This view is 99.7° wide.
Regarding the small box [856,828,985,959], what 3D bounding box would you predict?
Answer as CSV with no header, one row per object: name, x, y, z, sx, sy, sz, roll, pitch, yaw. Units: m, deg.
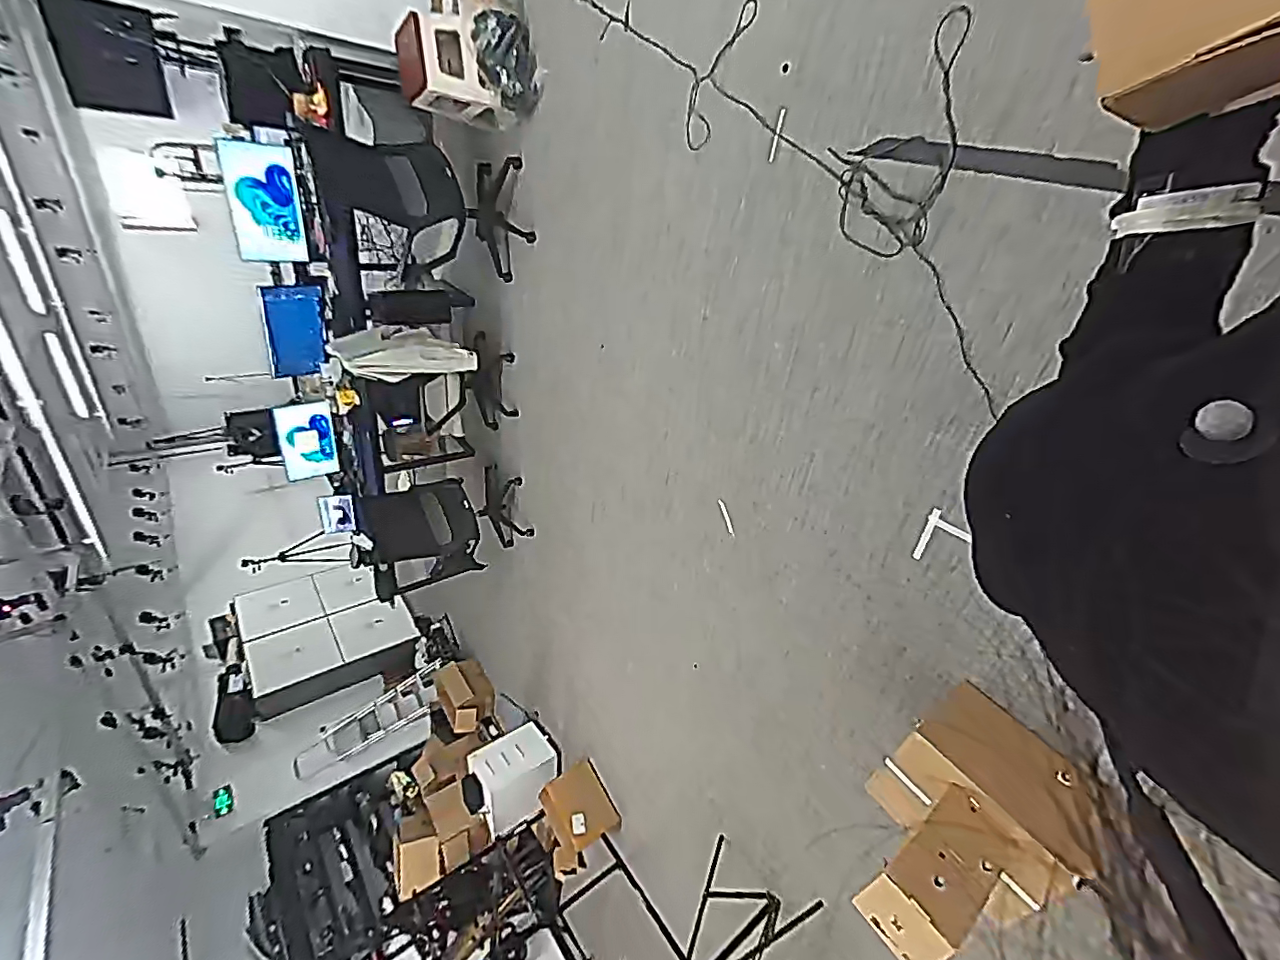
small box,0.622,0.917,1.192,0.168,0.176,0.179,43,133,35

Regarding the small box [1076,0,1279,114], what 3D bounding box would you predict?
small box,0.294,-0.284,0.223,0.168,0.176,0.179,-6,103,50
